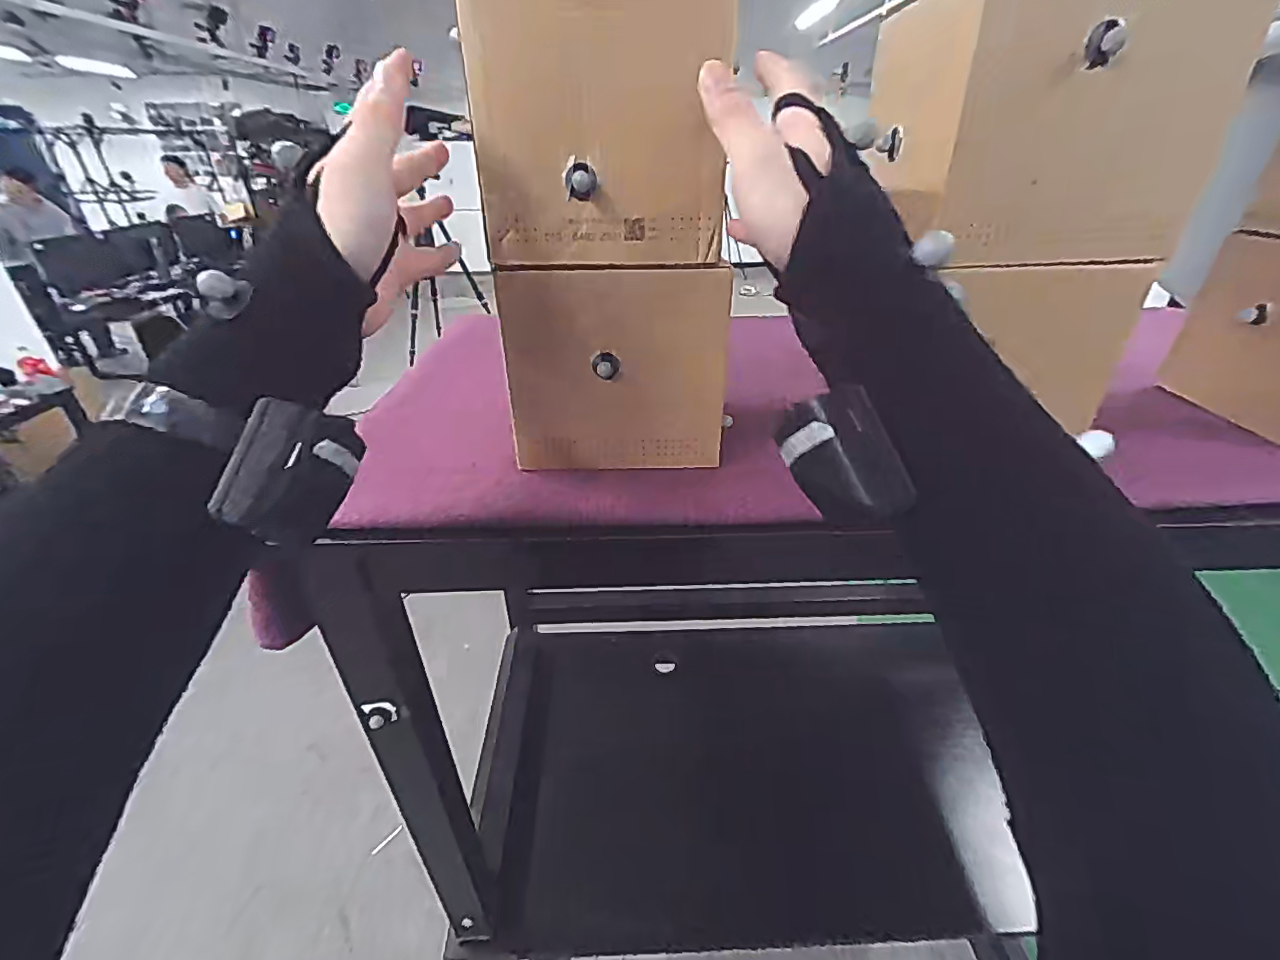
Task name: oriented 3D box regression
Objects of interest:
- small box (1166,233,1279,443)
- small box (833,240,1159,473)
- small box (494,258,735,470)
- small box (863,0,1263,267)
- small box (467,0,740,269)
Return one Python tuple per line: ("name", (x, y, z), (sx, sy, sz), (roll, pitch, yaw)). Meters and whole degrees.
("small box", (0.670, -0.132, 0.507), (0.168, 0.176, 0.179), (0, 30, 3))
("small box", (0.290, -0.120, 0.496), (0.168, 0.176, 0.179), (-1, 30, 2))
("small box", (-0.018, -0.118, 0.495), (0.179, 0.176, 0.168), (-1, 30, 0))
("small box", (0.284, -0.260, 0.410), (0.179, 0.176, 0.168), (-1, 30, 1))
("small box", (-0.024, -0.263, 0.421), (0.168, 0.176, 0.179), (-1, 30, -1))
